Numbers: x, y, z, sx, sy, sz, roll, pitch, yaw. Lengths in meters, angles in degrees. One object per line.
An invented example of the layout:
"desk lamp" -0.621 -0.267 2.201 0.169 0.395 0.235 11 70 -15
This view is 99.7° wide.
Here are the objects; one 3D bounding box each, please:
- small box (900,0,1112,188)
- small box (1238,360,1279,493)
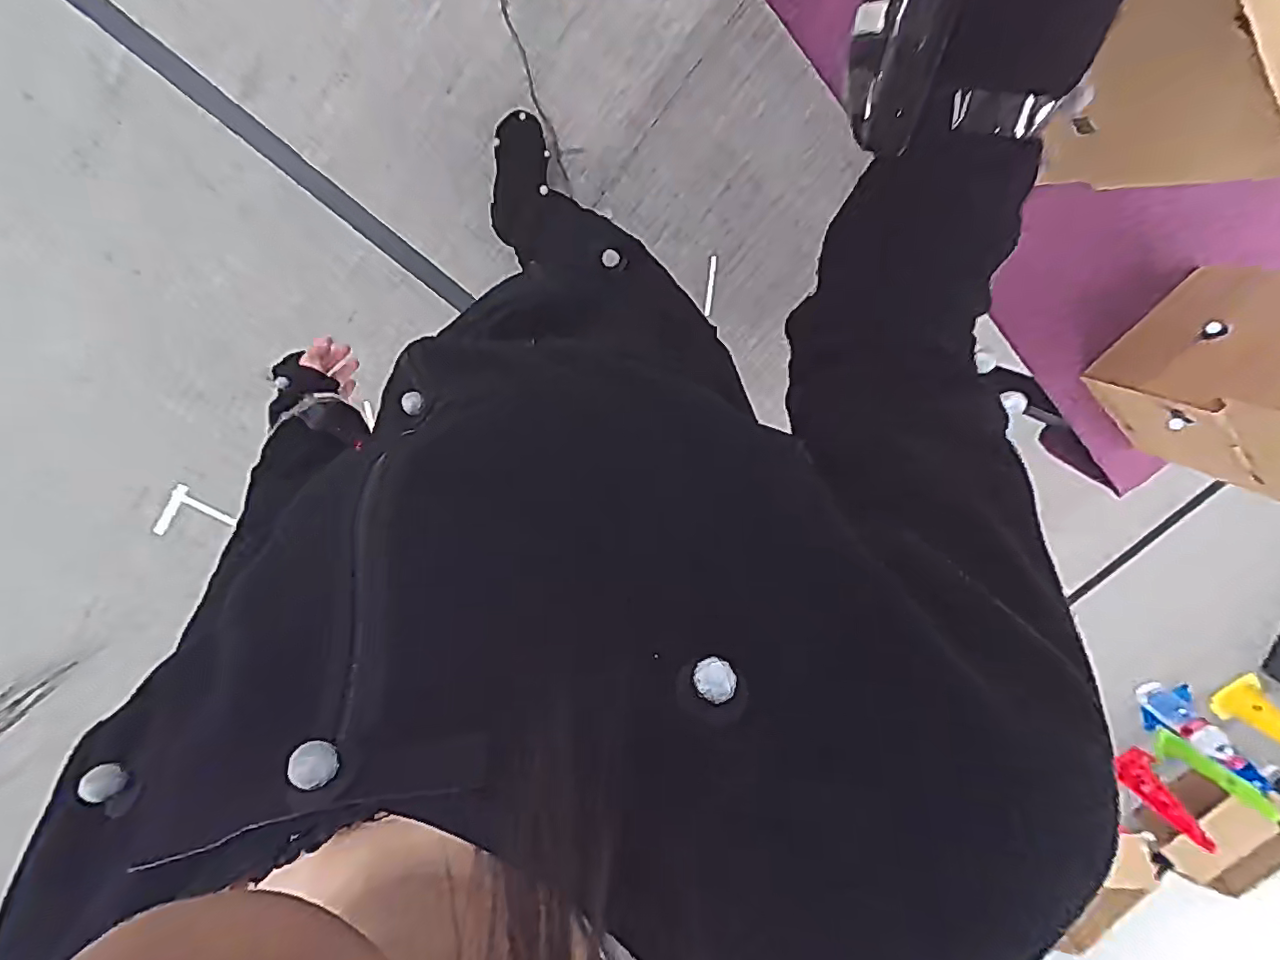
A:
"small box" 0.369 -0.382 0.462 0.179 0.176 0.168 39 106 -22
"small box" 0.706 -0.053 0.477 0.179 0.176 0.168 41 104 -22
